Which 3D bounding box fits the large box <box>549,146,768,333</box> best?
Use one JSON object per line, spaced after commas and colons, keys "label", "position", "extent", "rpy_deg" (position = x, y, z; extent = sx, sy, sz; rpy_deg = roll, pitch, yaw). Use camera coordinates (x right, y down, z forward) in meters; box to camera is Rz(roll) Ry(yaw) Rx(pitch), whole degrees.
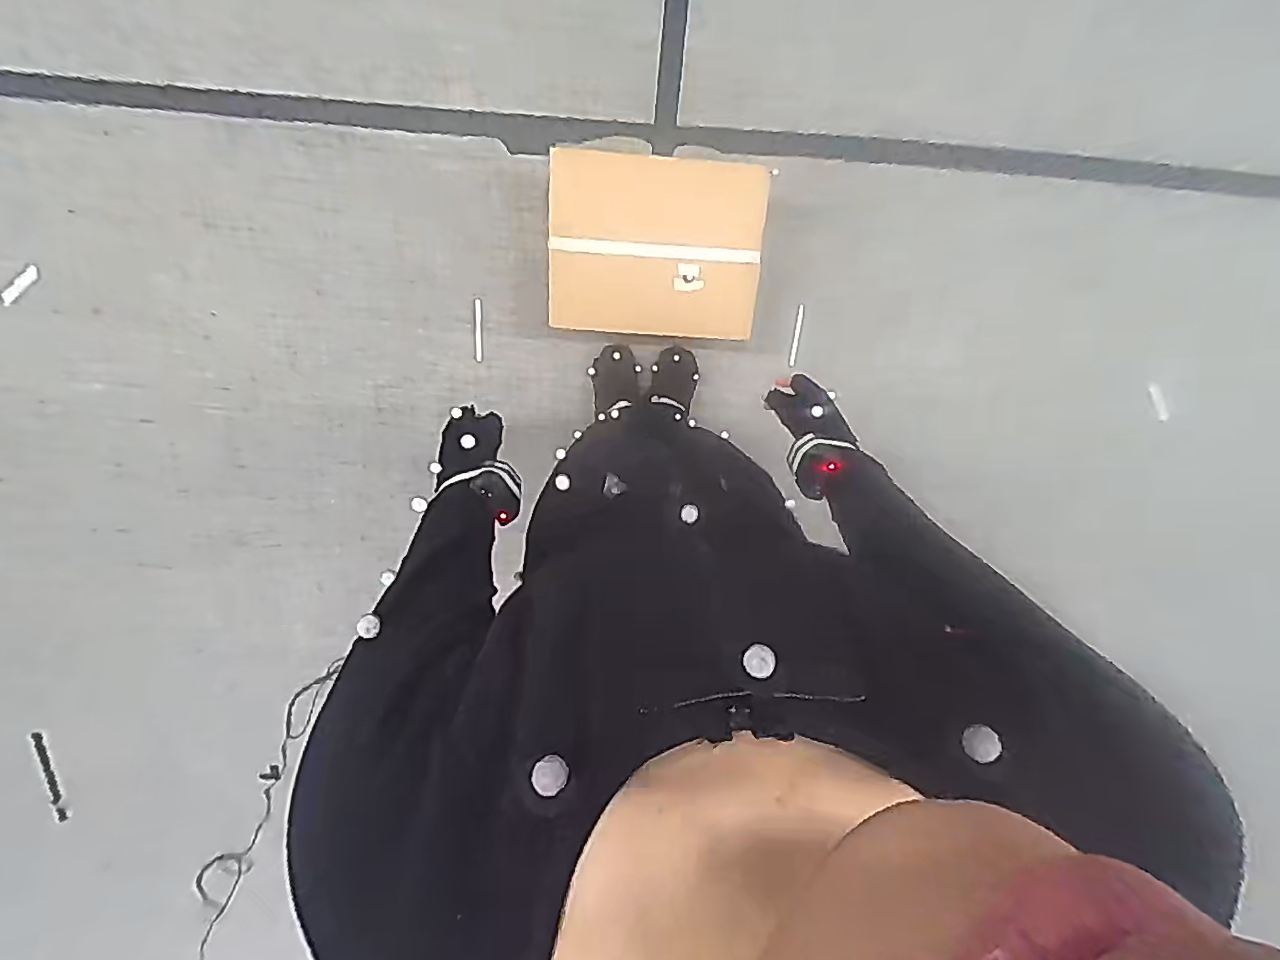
{"label": "large box", "position": [0.020, -0.496, 1.164], "extent": [0.408, 0.320, 0.320], "rpy_deg": [2, 111, -4]}
